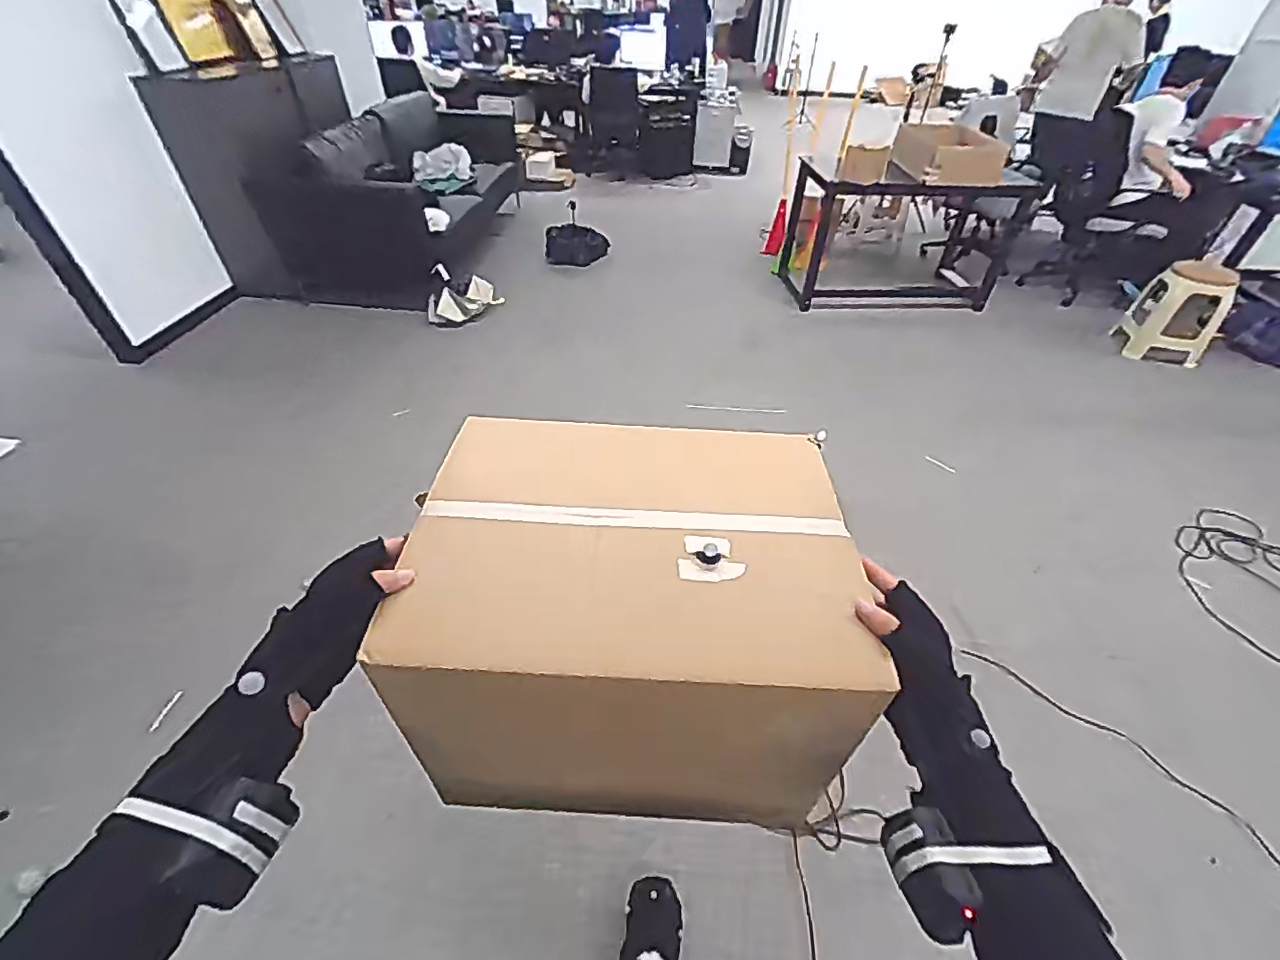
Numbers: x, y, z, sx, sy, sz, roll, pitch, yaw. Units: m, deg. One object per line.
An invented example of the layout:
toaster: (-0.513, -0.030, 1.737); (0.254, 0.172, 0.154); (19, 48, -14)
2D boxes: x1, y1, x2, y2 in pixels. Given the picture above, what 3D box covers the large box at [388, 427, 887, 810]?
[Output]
large box: (-0.007, 0.158, 0.629); (0.408, 0.320, 0.320); (4, 42, -1)
